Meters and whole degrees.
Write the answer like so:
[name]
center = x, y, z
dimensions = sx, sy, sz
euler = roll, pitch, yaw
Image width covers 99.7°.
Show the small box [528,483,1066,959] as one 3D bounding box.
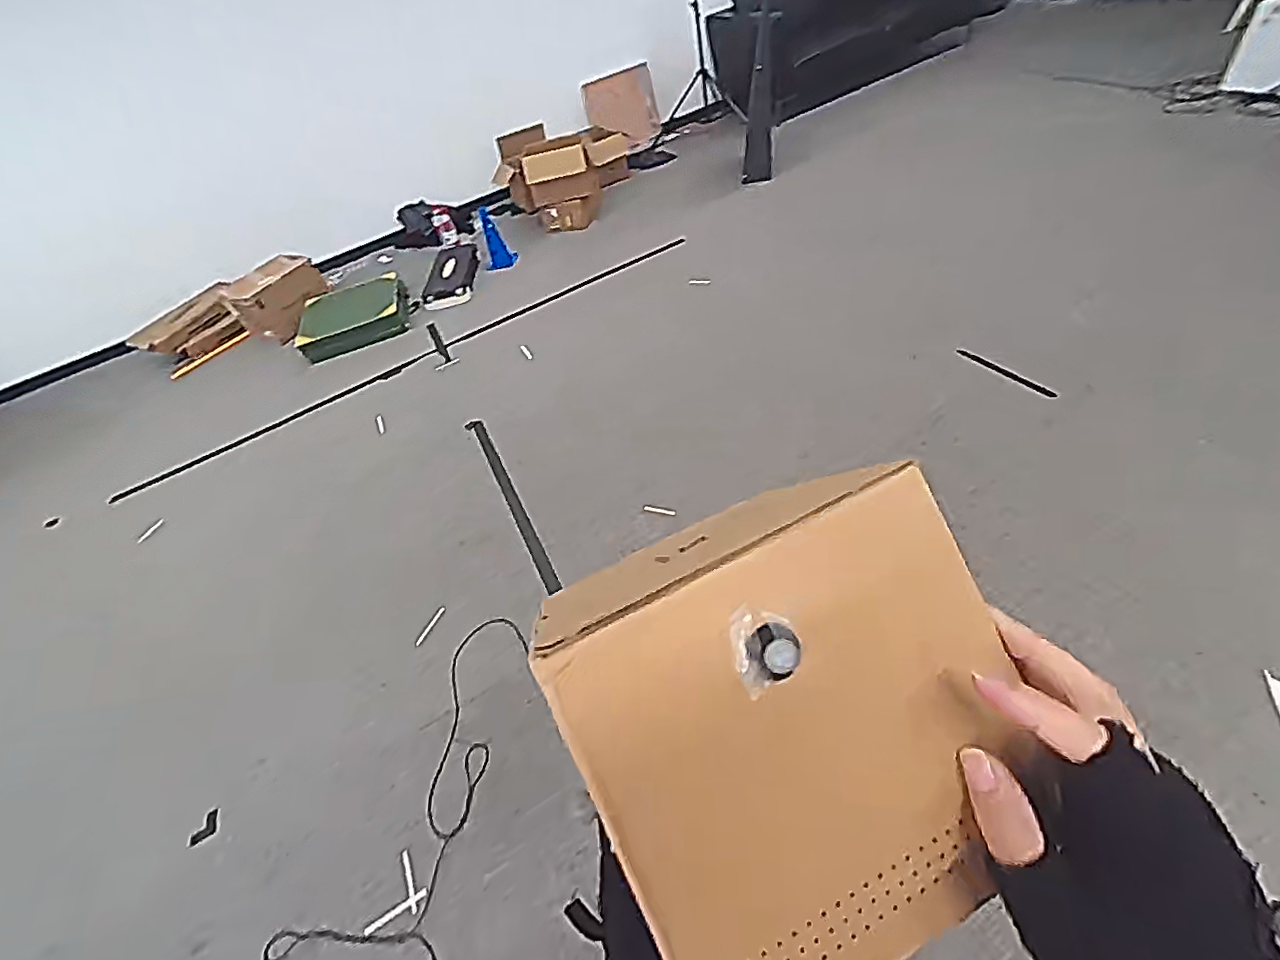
[small box]
center = 0.061, 0.120, 0.283
dimensions = 0.179, 0.168, 0.176
euler = -25, 88, -10
